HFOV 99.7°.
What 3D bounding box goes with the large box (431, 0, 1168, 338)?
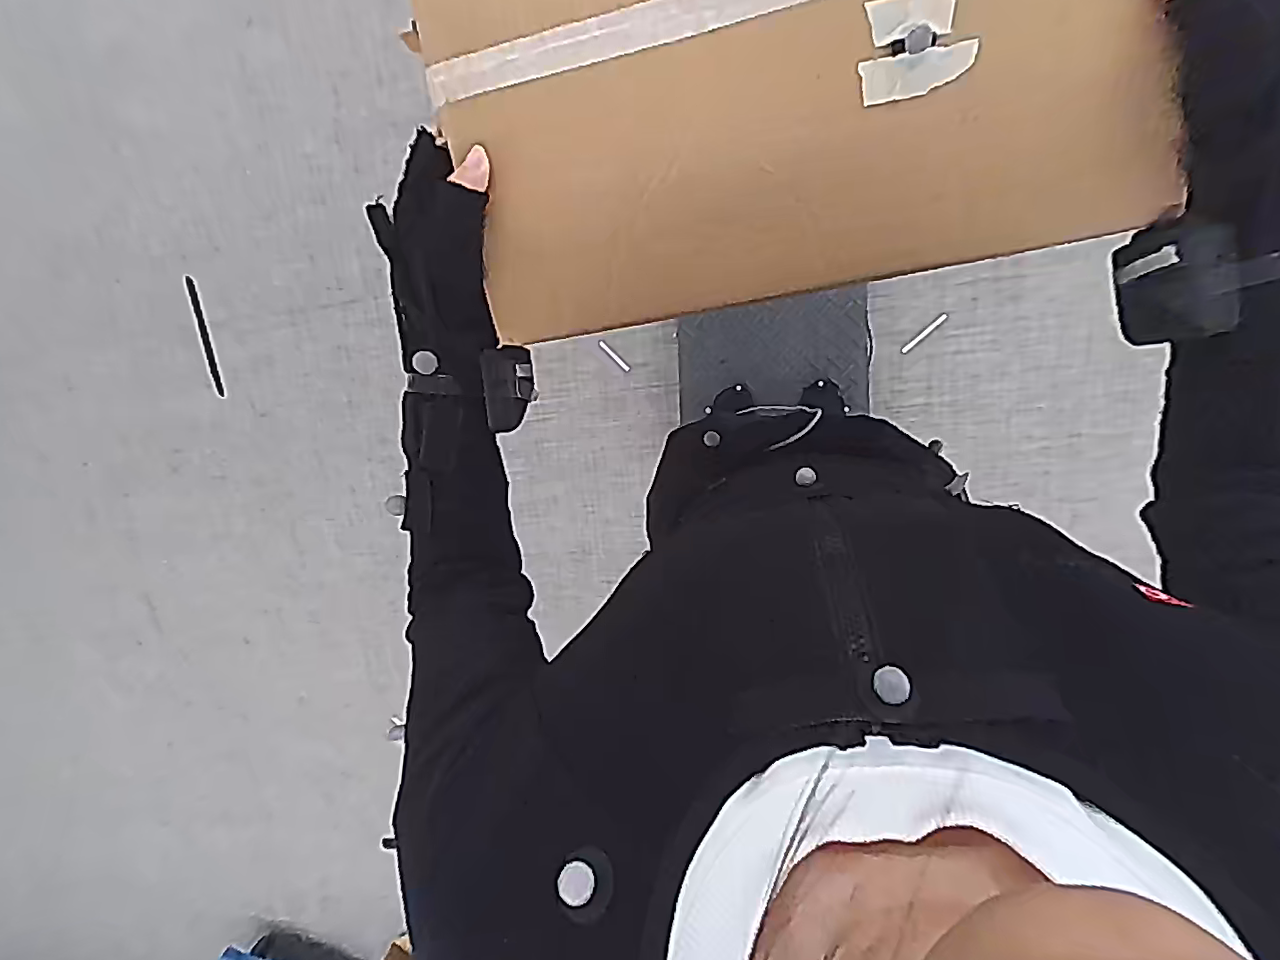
[{"bbox_3d":[0.092,-0.317,0.446,0.408,0.320,0.320,-8,107,10],"label":"large box"}]
